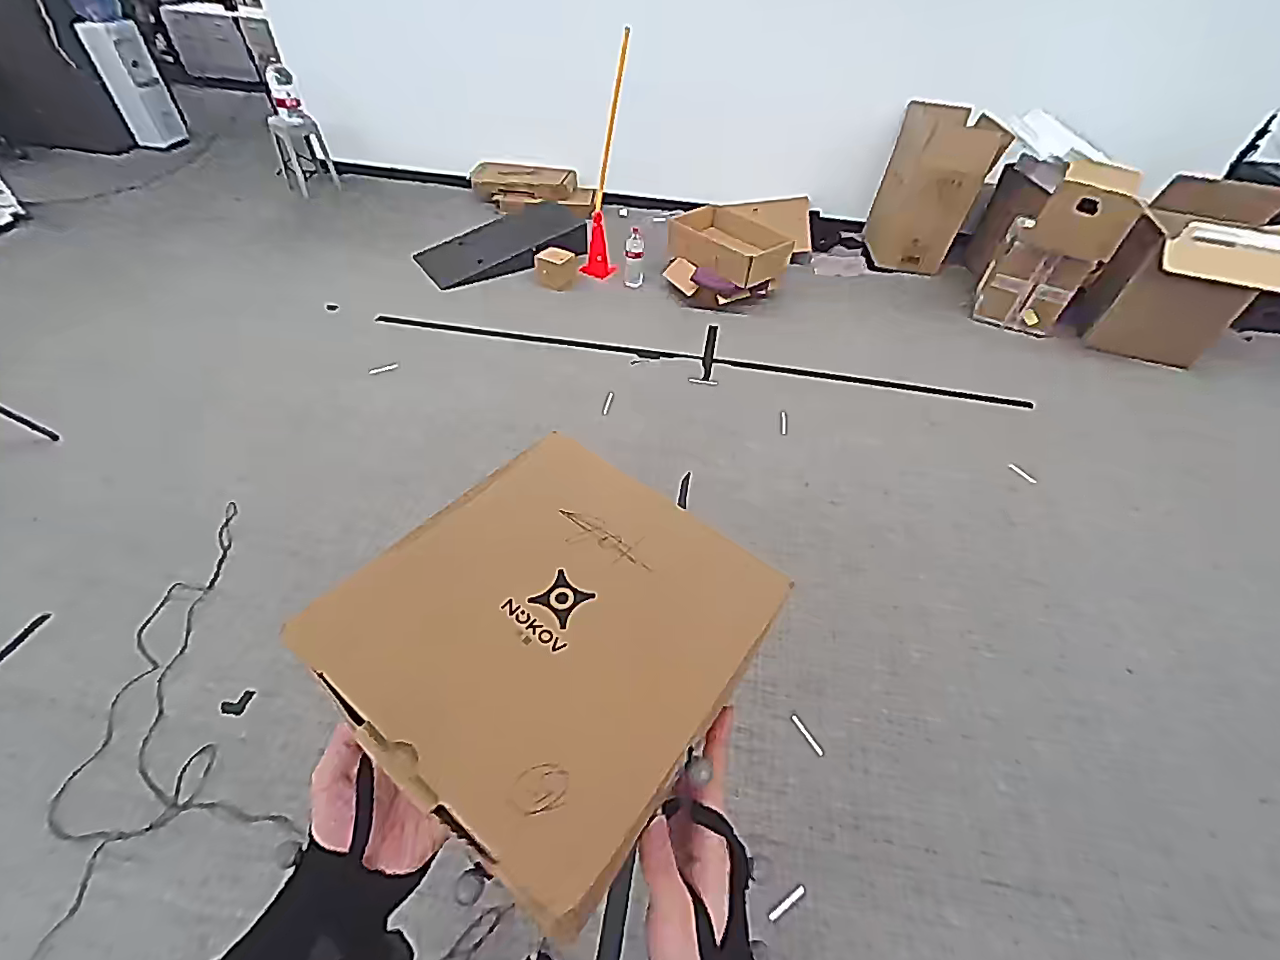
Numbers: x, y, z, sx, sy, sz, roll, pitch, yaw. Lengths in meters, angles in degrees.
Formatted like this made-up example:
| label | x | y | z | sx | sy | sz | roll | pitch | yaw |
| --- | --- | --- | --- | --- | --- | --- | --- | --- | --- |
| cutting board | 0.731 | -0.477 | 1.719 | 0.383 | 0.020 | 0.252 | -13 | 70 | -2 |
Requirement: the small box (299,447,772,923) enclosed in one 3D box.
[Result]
| label | x | y | z | sx | sy | sz | roll | pitch | yaw |
| --- | --- | --- | --- | --- | --- | --- | --- | --- | --- |
| small box | -0.049 | 0.119 | 0.324 | 0.168 | 0.176 | 0.179 | 31 | 50 | 19 |
